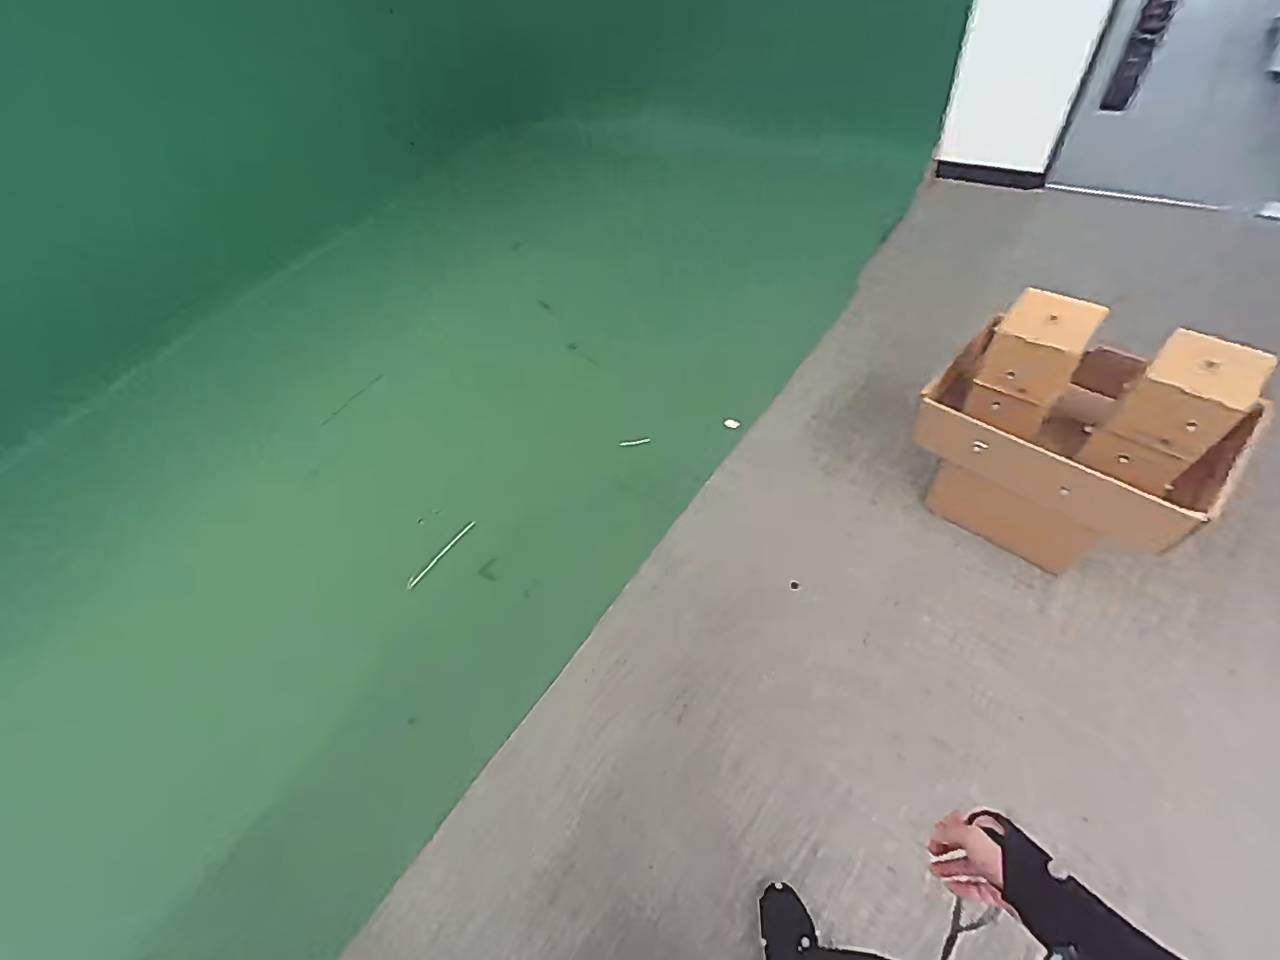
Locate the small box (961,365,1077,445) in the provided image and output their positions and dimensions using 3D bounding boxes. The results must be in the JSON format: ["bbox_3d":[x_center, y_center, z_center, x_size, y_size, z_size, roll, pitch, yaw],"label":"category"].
[{"bbox_3d":[0.974,-0.220,1.405,0.179,0.176,0.168,32,68,30],"label":"small box"}]

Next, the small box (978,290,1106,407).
[{"bbox_3d":[0.935,-0.307,1.273,0.168,0.176,0.179,32,68,29],"label":"small box"}]

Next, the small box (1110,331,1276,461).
[{"bbox_3d":[1.138,-0.172,1.130,0.168,0.176,0.179,35,68,30],"label":"small box"}]
